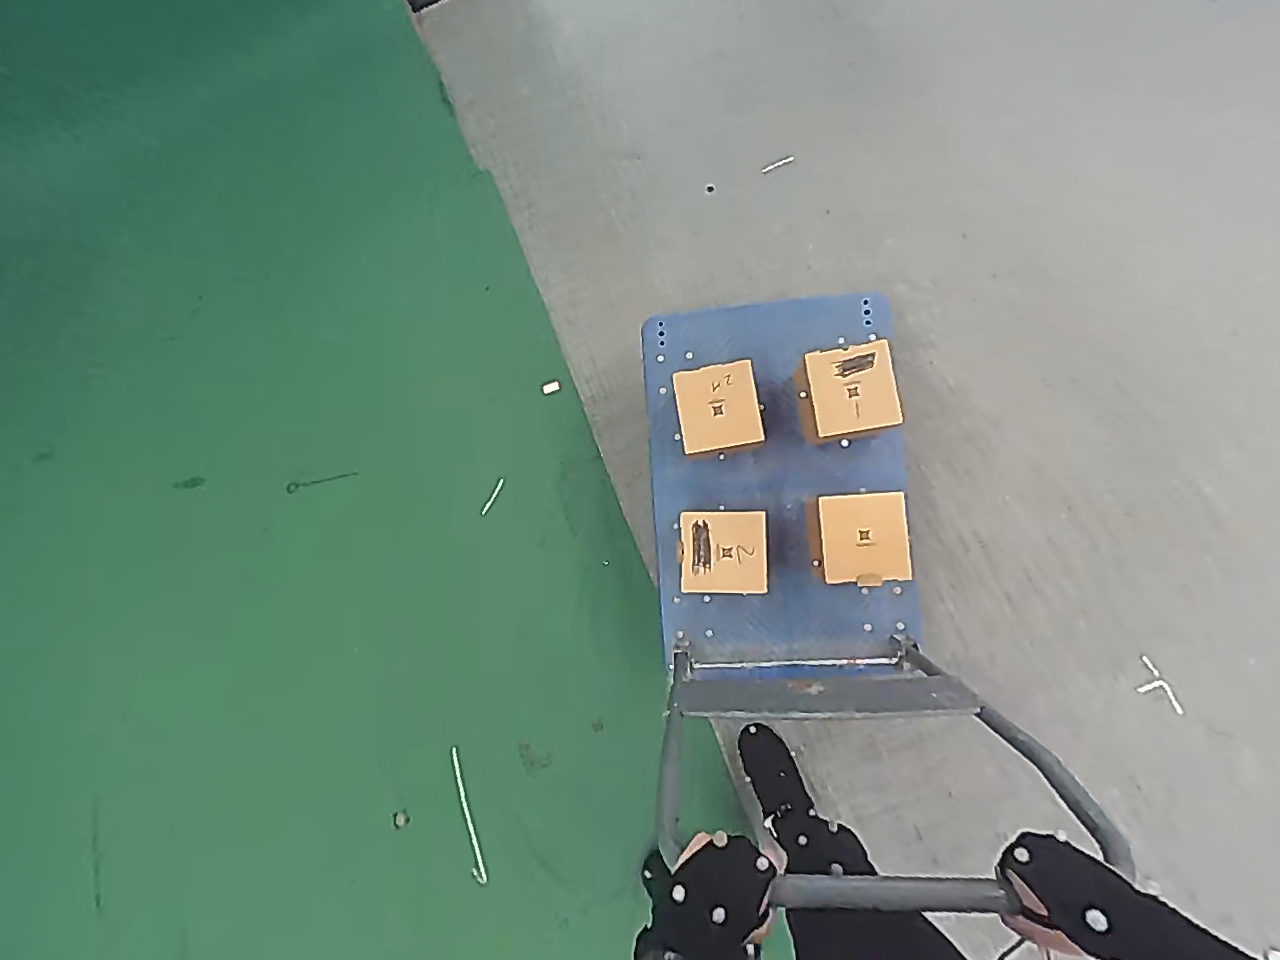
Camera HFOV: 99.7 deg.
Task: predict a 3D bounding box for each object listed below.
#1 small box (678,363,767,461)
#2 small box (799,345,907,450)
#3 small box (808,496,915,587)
[{"bbox_3d":[0.179,-0.140,1.192,0.168,0.176,0.179,-9,85,6],"label":"small box"},{"bbox_3d":[0.447,-0.170,1.161,0.168,0.176,0.179,-8,86,7],"label":"small box"},{"bbox_3d":[0.457,0.128,1.139,0.168,0.176,0.179,-4,86,7],"label":"small box"}]
